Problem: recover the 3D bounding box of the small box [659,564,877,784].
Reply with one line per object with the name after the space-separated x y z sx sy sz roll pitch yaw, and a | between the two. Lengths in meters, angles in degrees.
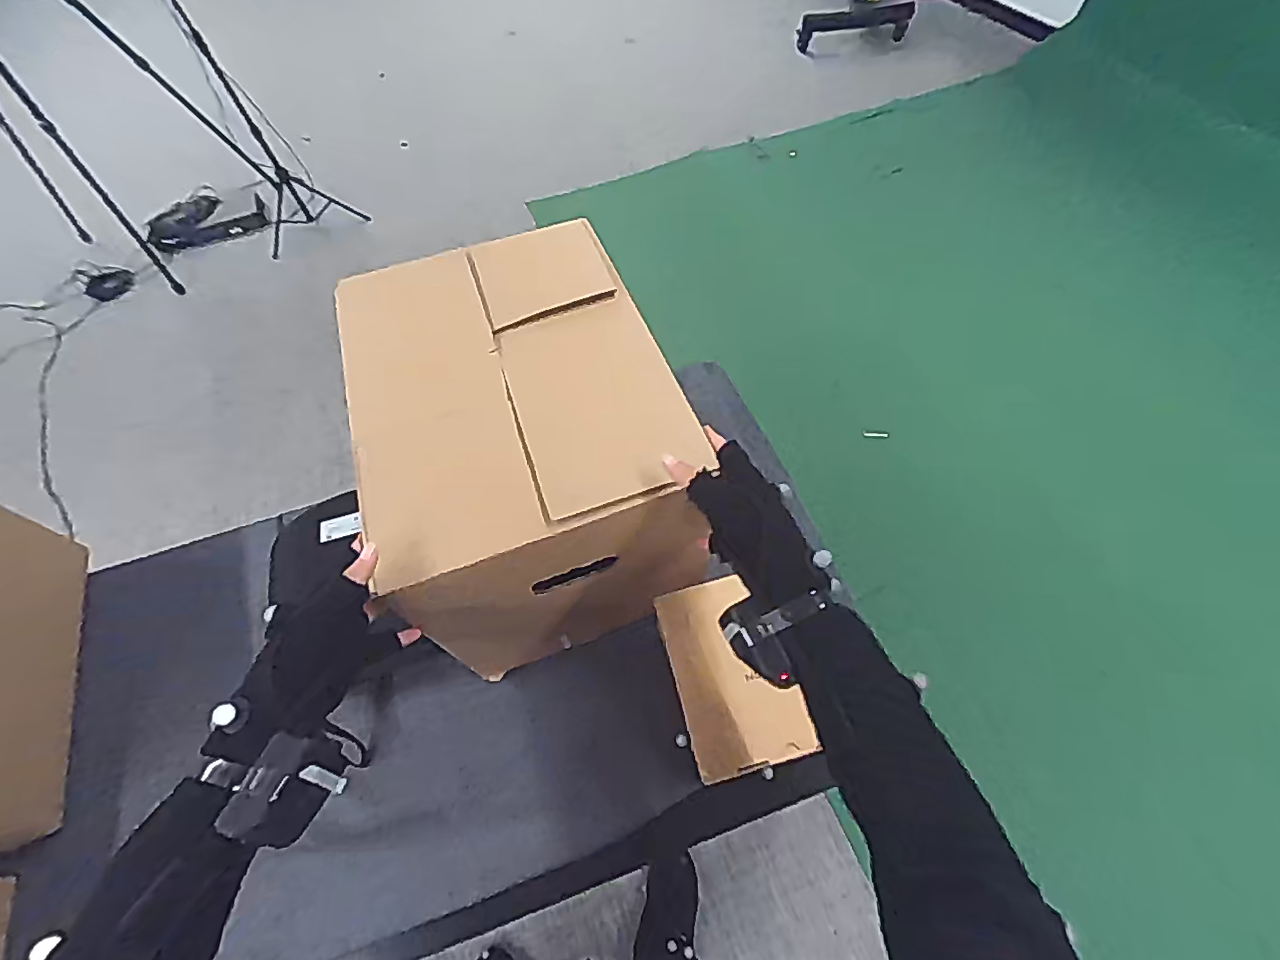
0.121 0.217 0.592 0.168 0.176 0.179 -15 61 -3 | small box
